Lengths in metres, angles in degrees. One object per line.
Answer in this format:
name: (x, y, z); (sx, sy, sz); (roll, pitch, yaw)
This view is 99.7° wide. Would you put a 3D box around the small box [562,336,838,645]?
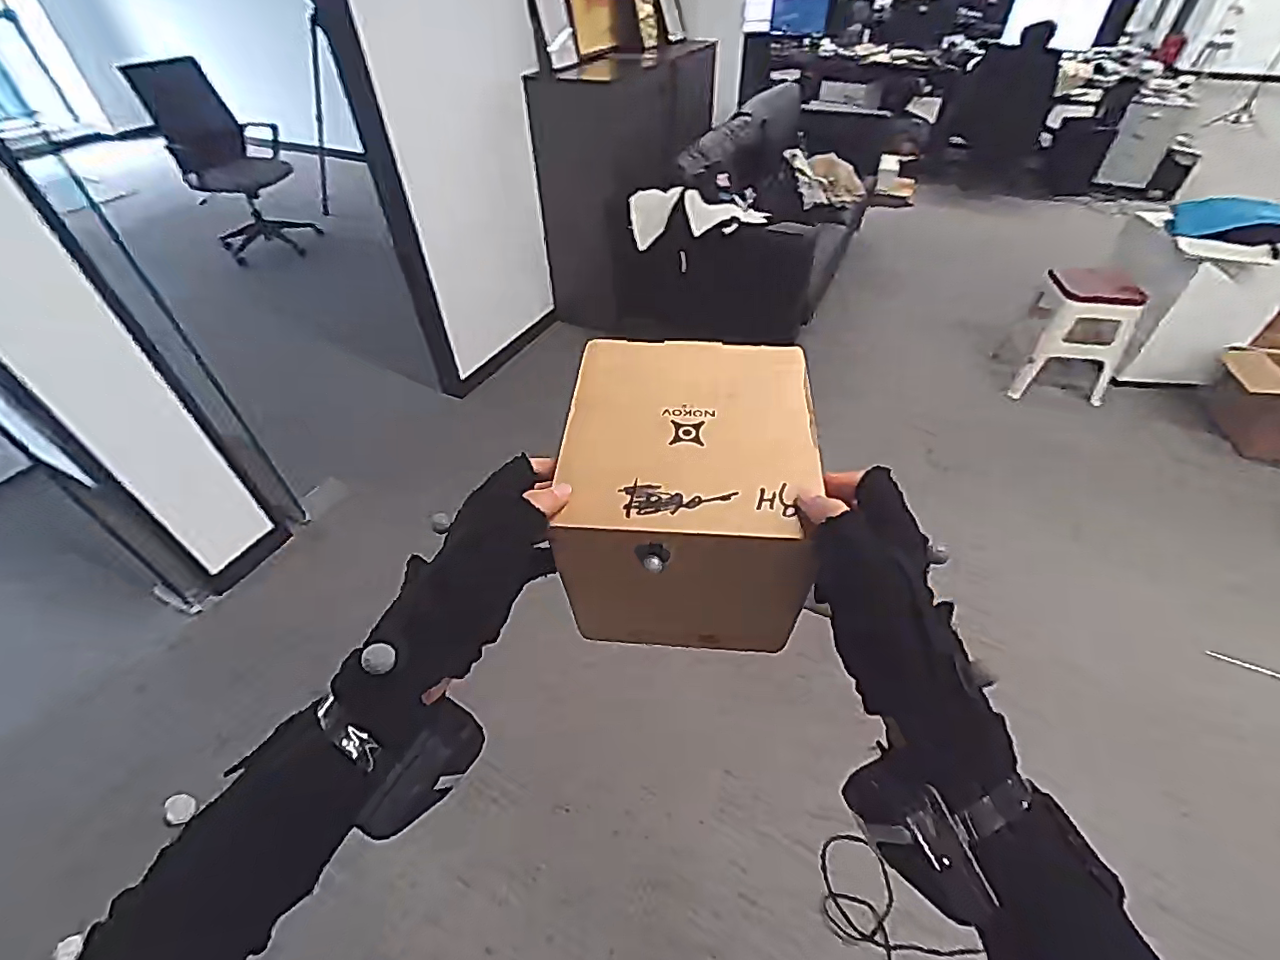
small box: (0.046, 0.009, 0.430); (0.168, 0.176, 0.179); (3, 51, 6)
